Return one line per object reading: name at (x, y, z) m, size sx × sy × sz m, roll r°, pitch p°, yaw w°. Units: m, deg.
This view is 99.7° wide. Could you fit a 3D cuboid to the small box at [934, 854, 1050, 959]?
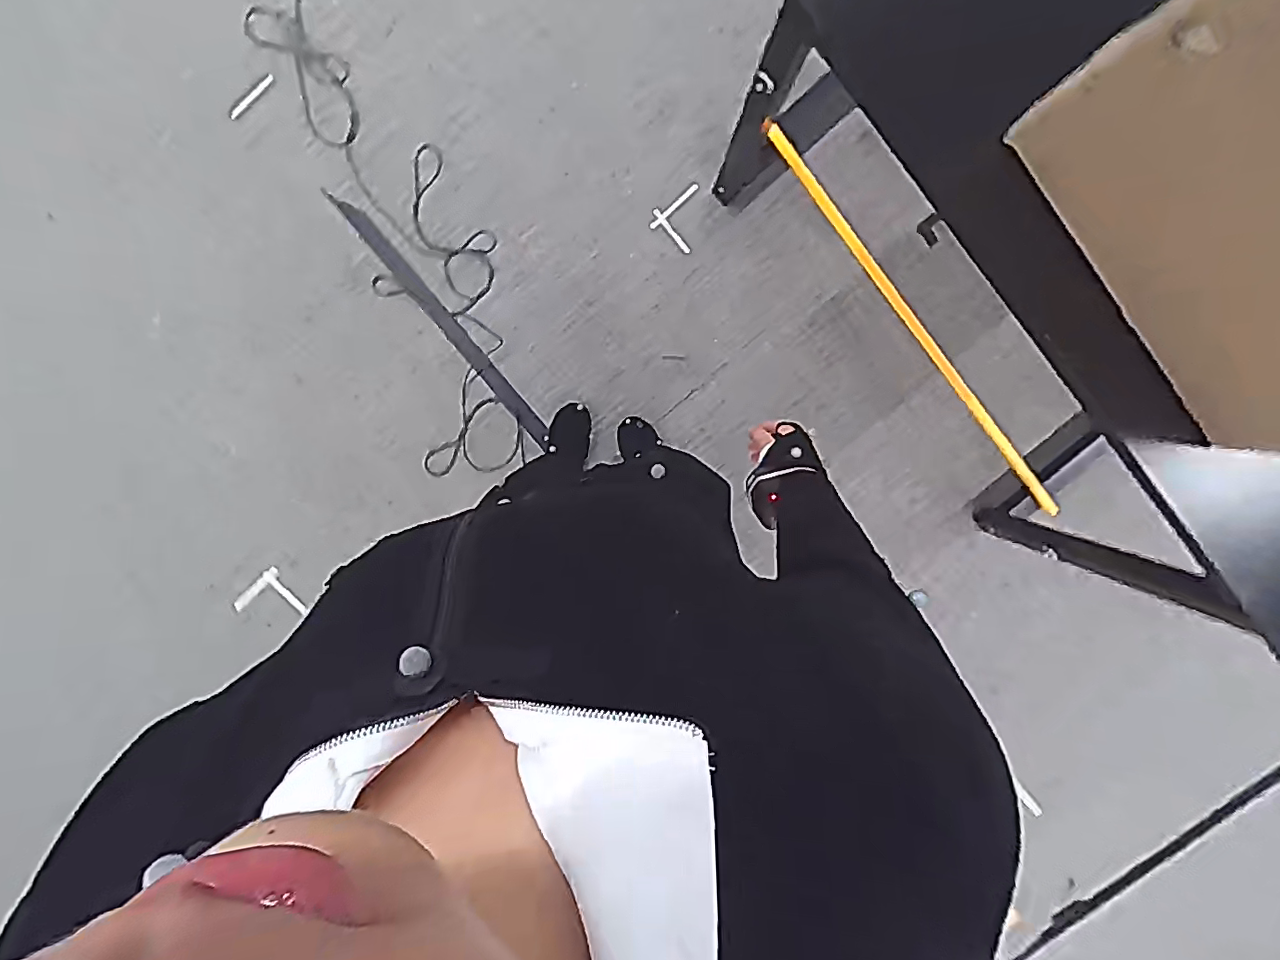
small box at (0.987, 1.217, 1.530) m, size 0.179 × 0.176 × 0.168 m, roll 42°, pitch 96°, yaw -5°
